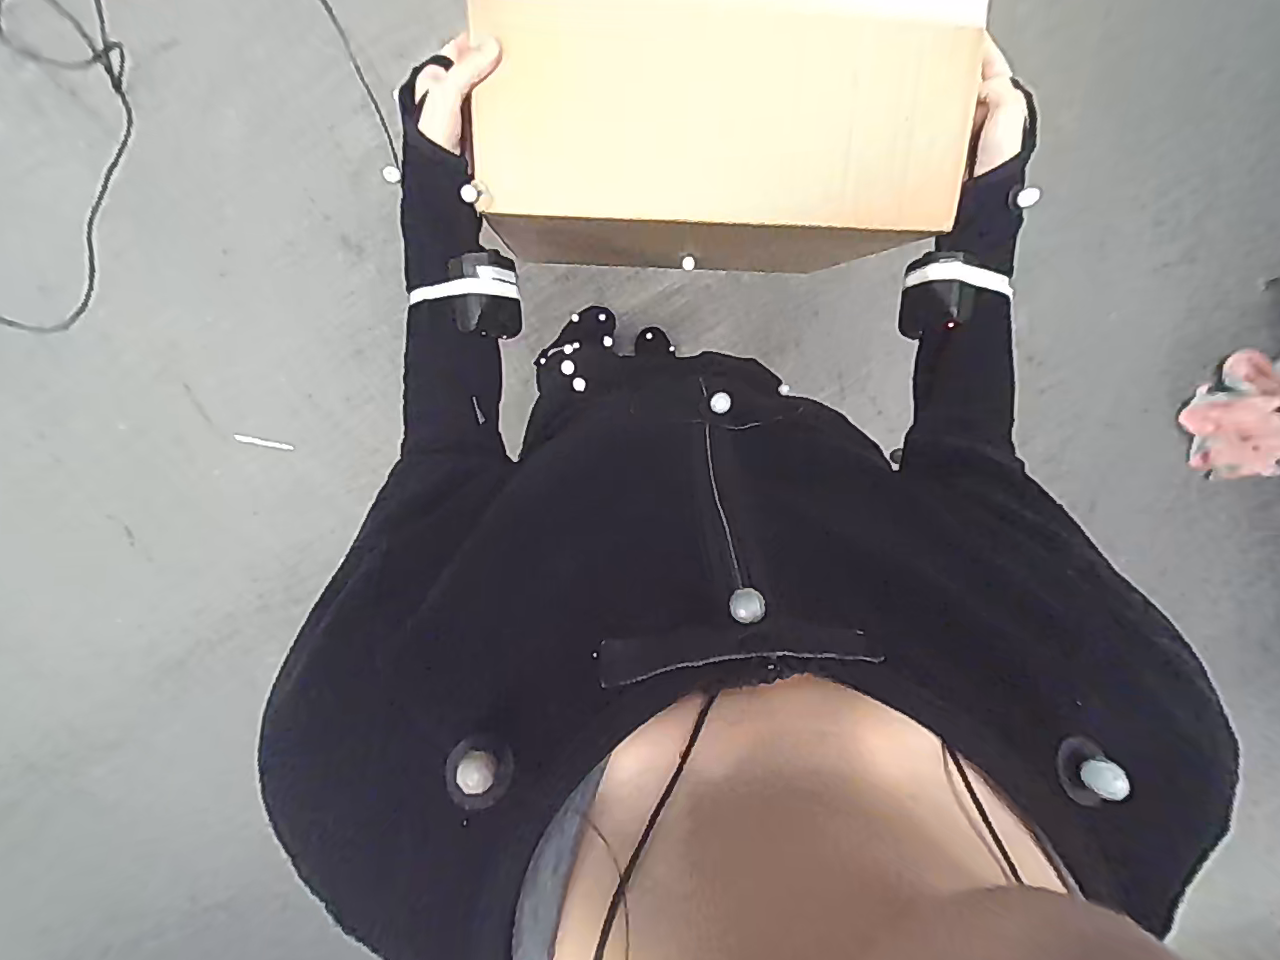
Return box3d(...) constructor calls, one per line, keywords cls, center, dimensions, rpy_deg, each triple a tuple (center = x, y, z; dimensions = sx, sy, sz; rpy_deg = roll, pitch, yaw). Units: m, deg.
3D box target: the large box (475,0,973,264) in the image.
box3d(cls="large box", center=(0.061, -0.407, 0.569), dimensions=(0.408, 0.320, 0.320), rpy_deg=(-1, 104, -4))
